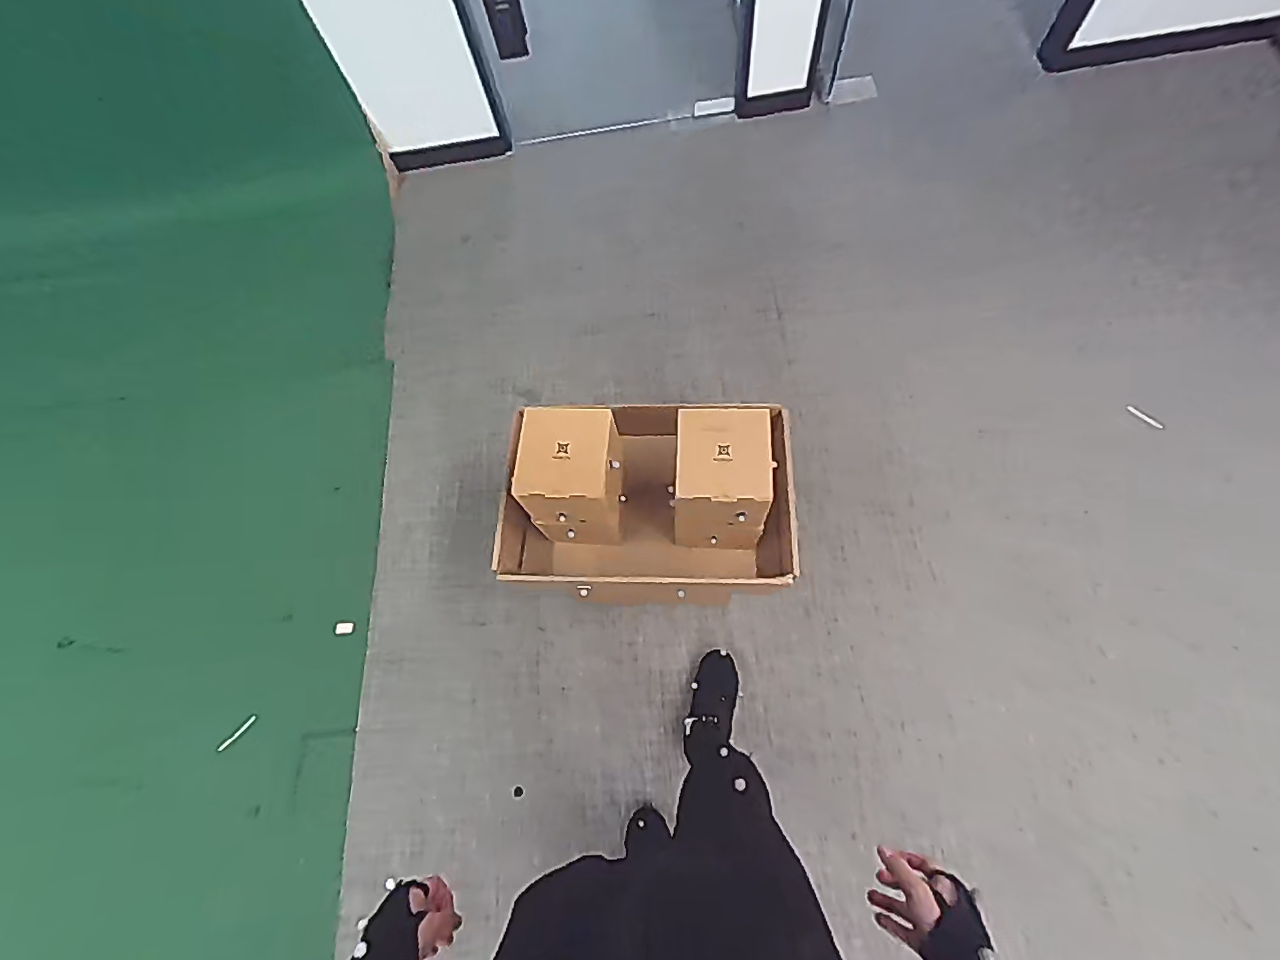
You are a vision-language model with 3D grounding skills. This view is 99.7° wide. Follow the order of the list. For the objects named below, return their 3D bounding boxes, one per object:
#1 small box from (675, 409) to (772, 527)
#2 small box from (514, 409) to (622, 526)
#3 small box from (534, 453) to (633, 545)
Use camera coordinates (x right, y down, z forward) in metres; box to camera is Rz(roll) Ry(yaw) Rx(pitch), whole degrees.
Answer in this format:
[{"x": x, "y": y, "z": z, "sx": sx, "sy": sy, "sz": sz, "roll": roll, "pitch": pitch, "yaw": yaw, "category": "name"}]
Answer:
[{"x": 0.154, "y": -0.017, "z": 1.014, "sx": 0.168, "sy": 0.176, "sz": 0.179, "roll": 2, "pitch": 67, "yaw": 5, "category": "small box"}, {"x": -0.129, "y": -0.021, "z": 1.049, "sx": 0.168, "sy": 0.176, "sz": 0.179, "roll": 2, "pitch": 69, "yaw": 6, "category": "small box"}, {"x": -0.118, "y": 0.043, "z": 1.199, "sx": 0.179, "sy": 0.176, "sz": 0.168, "roll": 3, "pitch": 69, "yaw": 7, "category": "small box"}]
